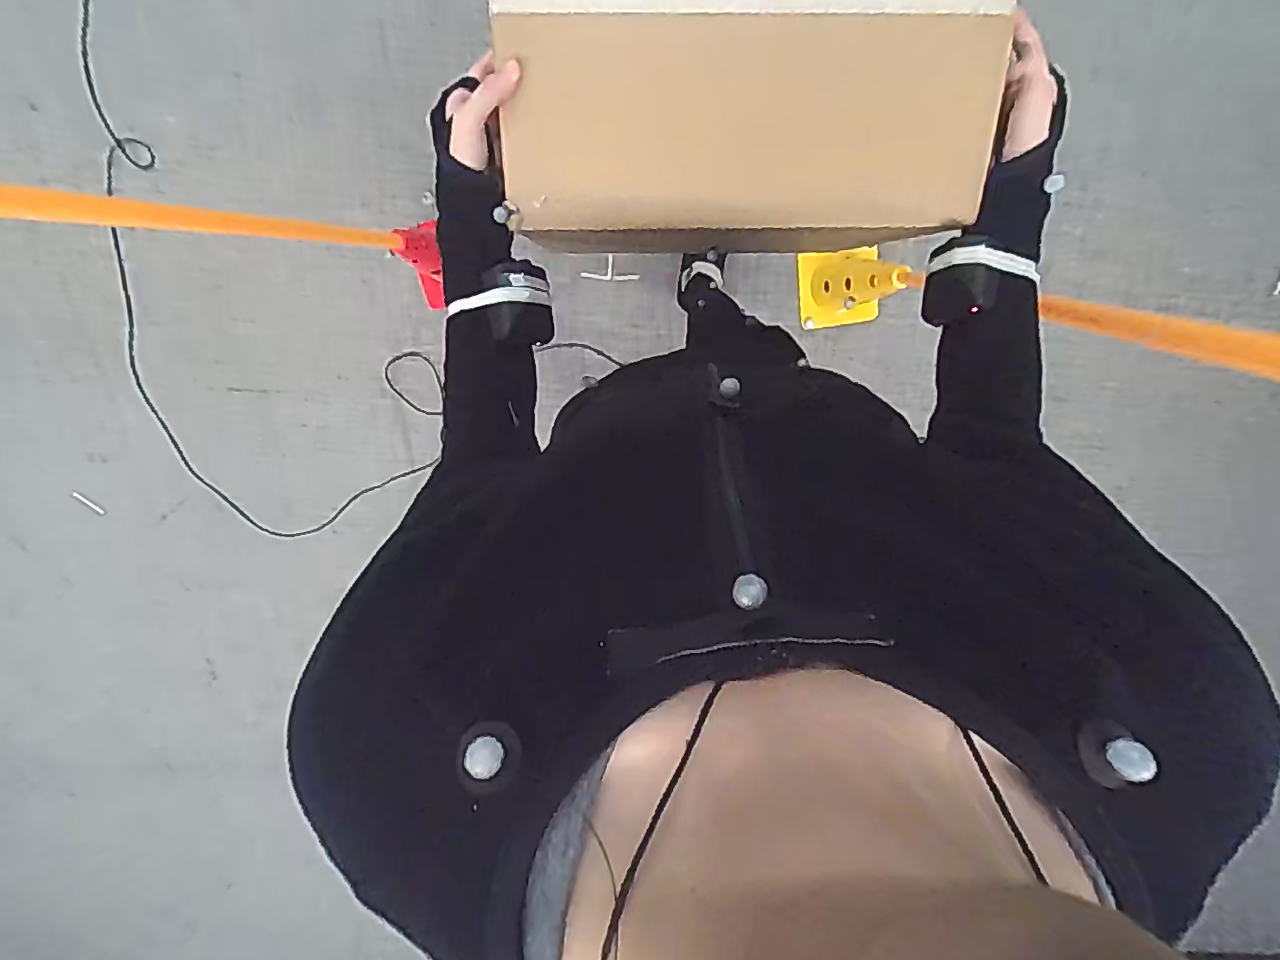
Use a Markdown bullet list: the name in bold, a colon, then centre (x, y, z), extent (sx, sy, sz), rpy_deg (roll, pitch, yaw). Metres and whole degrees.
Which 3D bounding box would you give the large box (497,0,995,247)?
- **large box**: centre (0.083, -0.423, 0.566), extent (0.408, 0.320, 0.320), rpy_deg (-2, 109, -1)
